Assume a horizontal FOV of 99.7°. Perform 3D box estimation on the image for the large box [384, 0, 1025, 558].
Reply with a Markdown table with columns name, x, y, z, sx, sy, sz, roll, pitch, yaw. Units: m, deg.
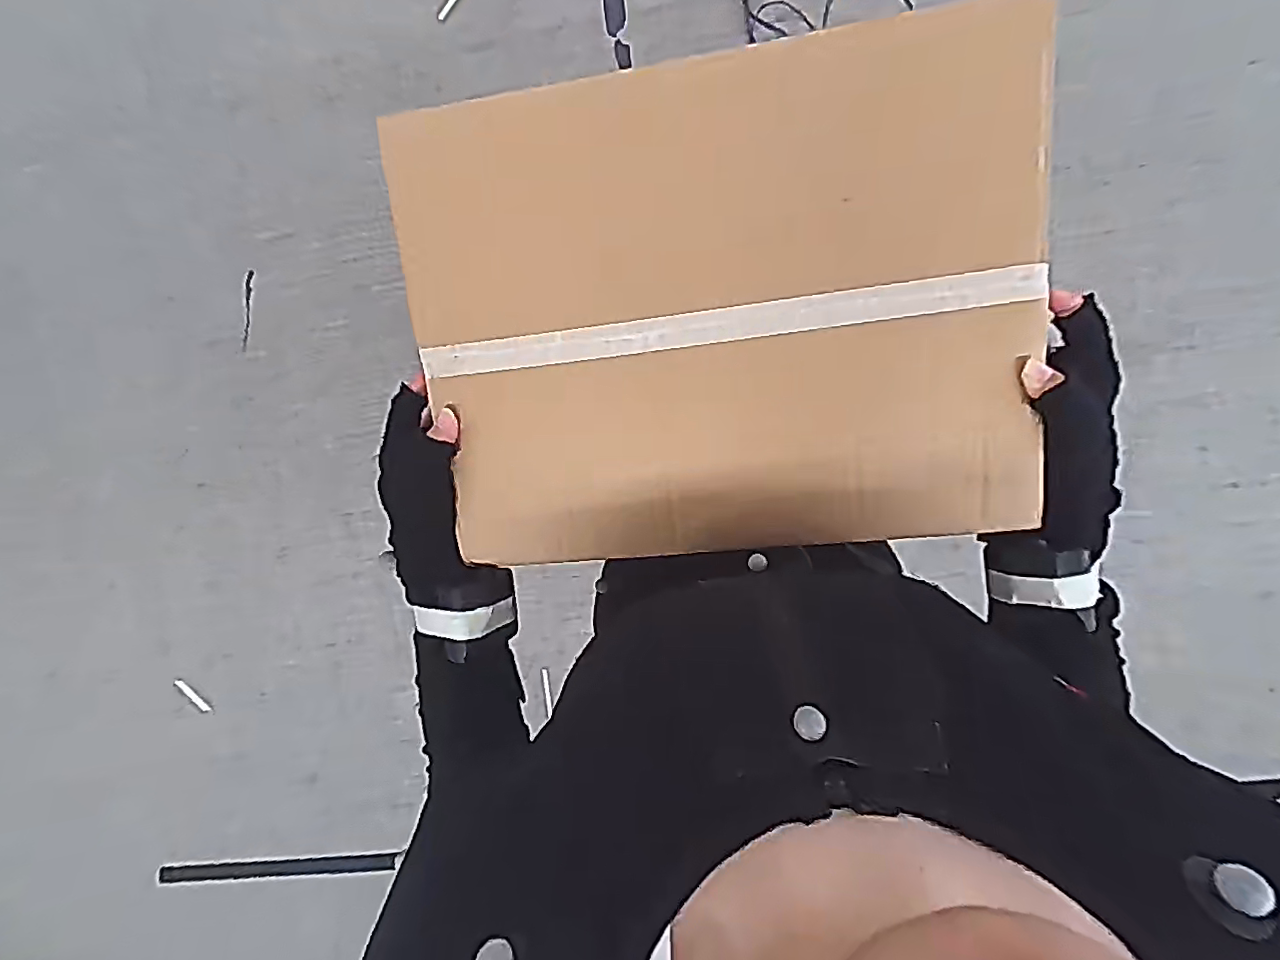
| name | x | y | z | sx | sy | sz | roll | pitch | yaw |
| --- | --- | --- | --- | --- | --- | --- | --- | --- | --- |
| large box | 0.061 | -0.142 | 0.507 | 0.408 | 0.320 | 0.320 | -6 | 102 | 9 |
